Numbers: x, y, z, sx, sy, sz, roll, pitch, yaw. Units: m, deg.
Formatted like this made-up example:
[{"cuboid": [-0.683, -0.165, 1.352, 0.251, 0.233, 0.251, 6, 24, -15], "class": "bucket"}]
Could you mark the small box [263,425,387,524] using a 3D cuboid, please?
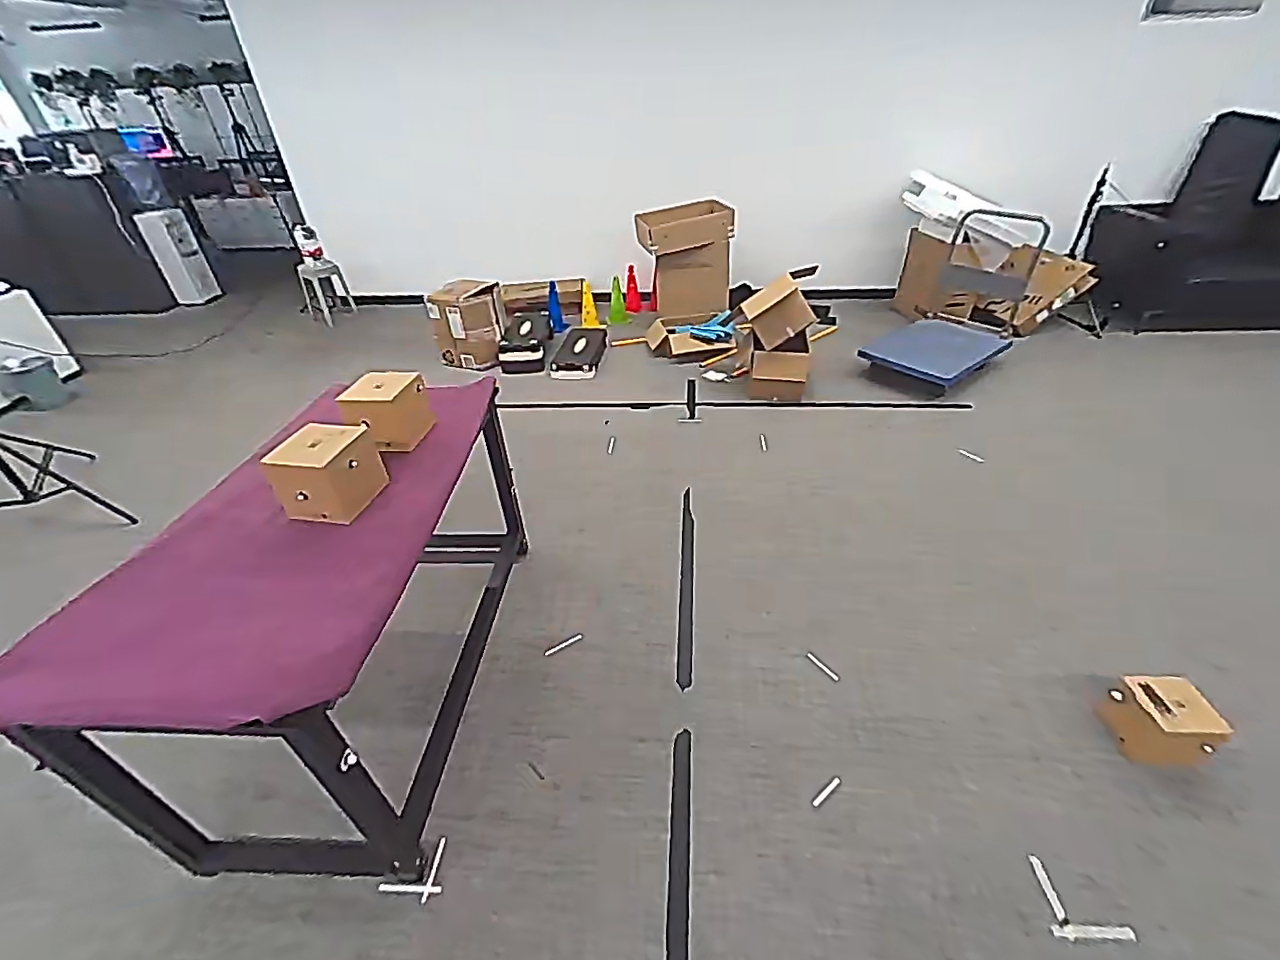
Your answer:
[{"cuboid": [-0.743, -0.013, 1.302, 0.168, 0.176, 0.179, 5, 36, 10], "class": "small box"}]

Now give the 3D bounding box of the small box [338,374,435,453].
[{"cuboid": [-0.711, -0.188, 1.544, 0.168, 0.176, 0.179, 1, 36, 8], "class": "small box"}]
